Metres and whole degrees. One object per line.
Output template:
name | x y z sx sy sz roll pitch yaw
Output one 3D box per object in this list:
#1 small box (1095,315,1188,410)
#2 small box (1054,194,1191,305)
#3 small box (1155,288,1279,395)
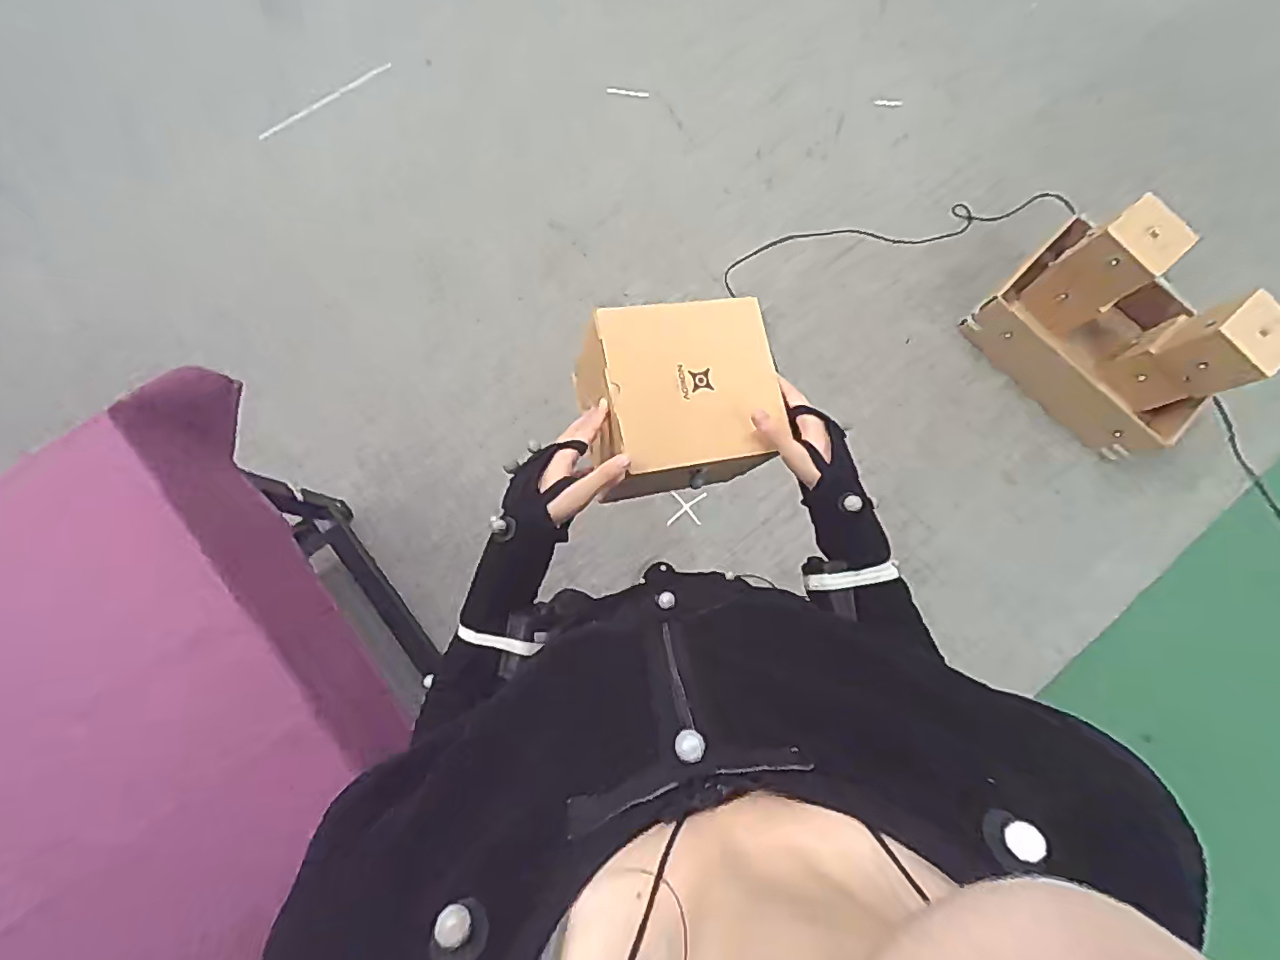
small box | 1.483 -0.329 1.556 0.168 0.176 0.179 -40 83 -8
small box | 1.260 -0.599 1.429 0.168 0.176 0.179 -40 85 -7
small box | 1.498 -0.346 1.392 0.179 0.176 0.168 -40 85 -9
